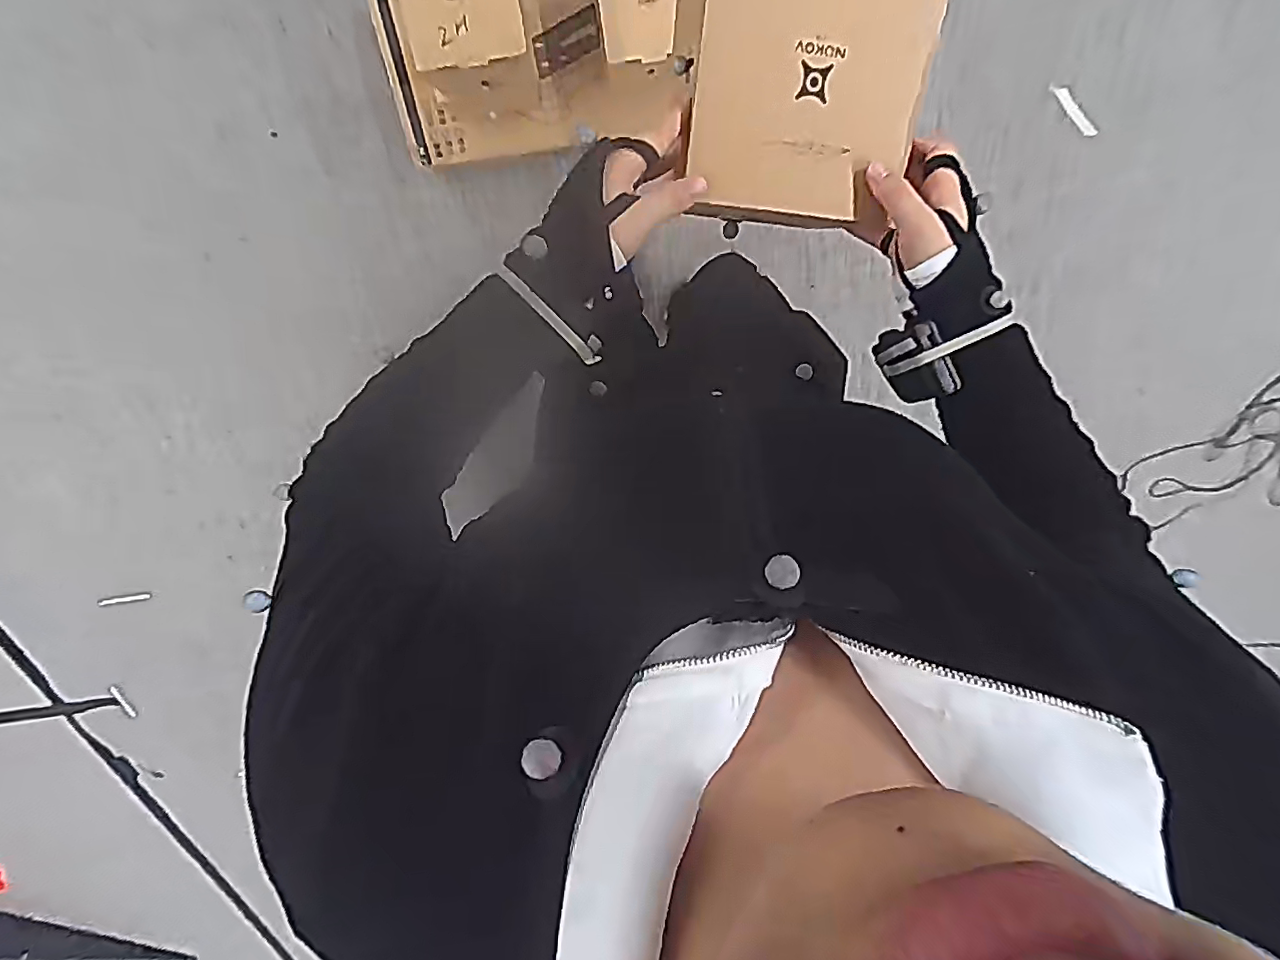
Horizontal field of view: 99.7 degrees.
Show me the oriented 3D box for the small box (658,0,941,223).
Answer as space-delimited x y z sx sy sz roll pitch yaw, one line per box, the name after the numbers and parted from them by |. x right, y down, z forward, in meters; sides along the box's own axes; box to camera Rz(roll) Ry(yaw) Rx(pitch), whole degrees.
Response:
0.111 -0.320 0.450 0.168 0.176 0.179 3 115 -7 | small box

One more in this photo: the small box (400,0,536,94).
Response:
-0.261 -0.716 0.819 0.168 0.176 0.179 -9 116 0 | small box

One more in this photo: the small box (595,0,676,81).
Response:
0.005 -0.838 0.966 0.168 0.176 0.179 -8 116 2 | small box

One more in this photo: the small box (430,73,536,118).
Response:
-0.291 -0.778 0.971 0.168 0.176 0.179 -10 117 0 | small box
